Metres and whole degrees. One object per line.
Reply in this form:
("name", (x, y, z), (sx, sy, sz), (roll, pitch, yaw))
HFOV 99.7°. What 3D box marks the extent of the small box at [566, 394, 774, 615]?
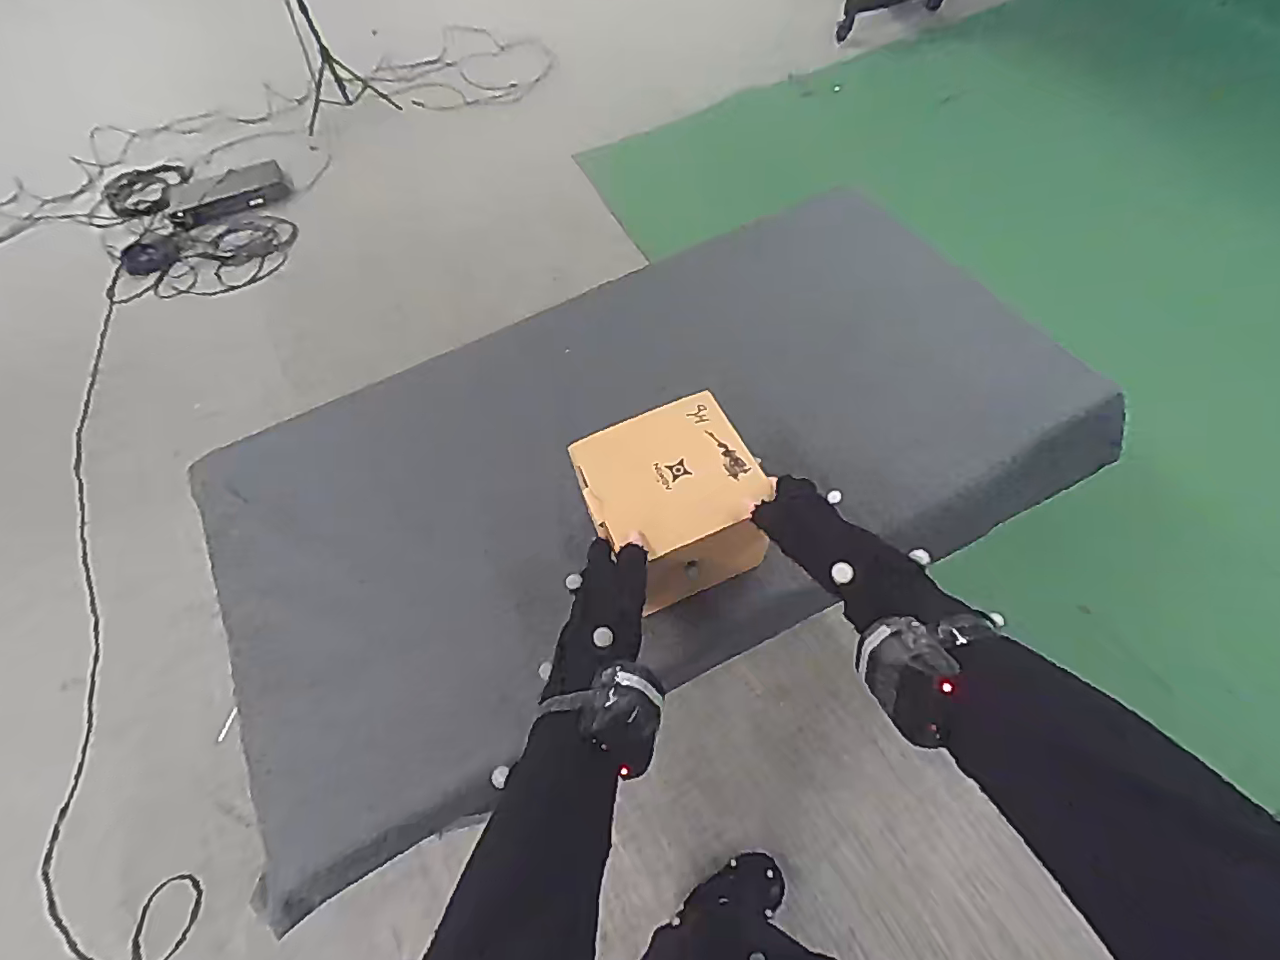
("small box", (0.035, 0.037, 0.634), (0.179, 0.176, 0.168), (-22, 61, -7))
